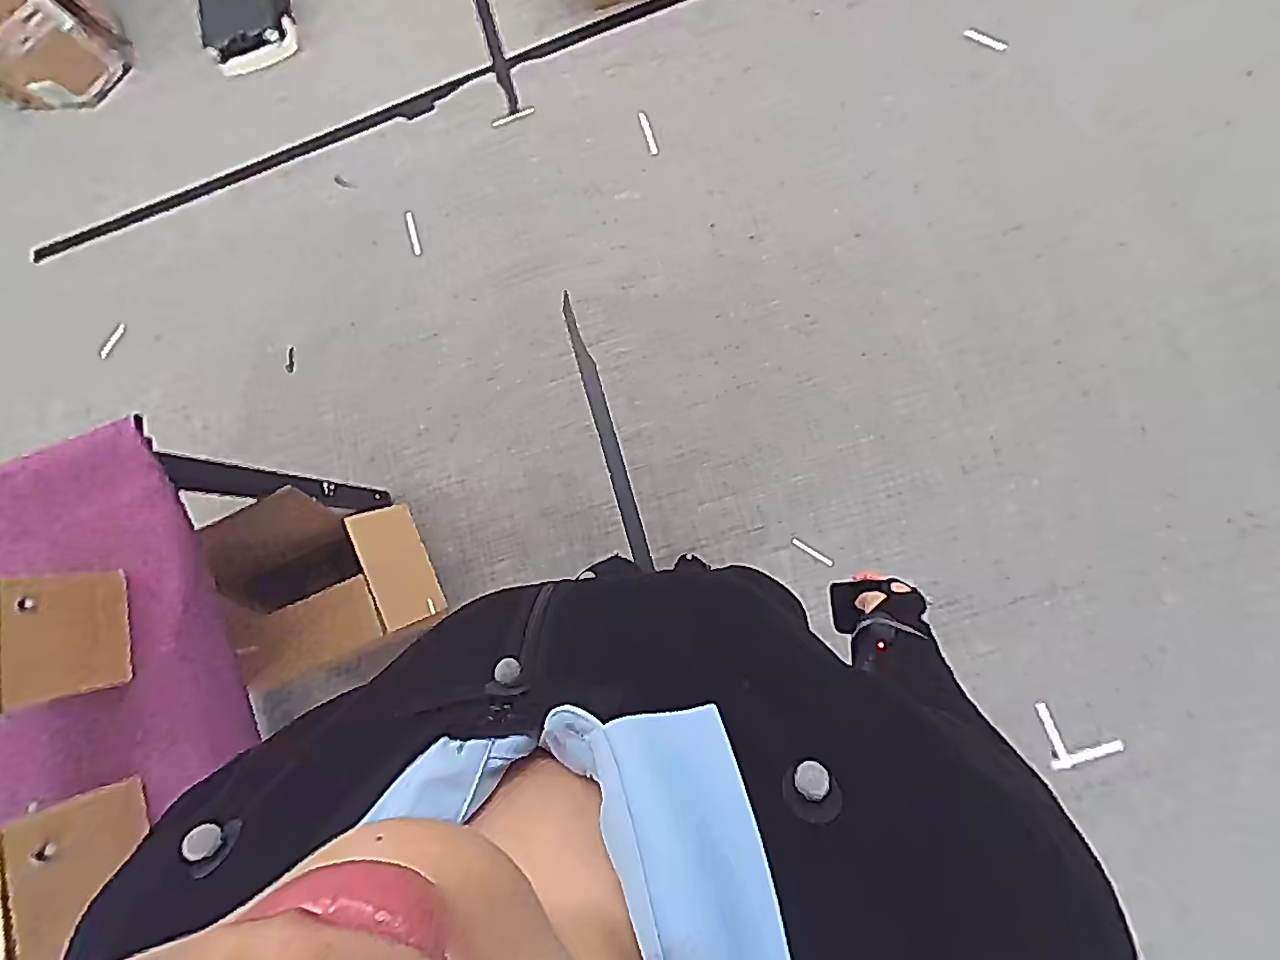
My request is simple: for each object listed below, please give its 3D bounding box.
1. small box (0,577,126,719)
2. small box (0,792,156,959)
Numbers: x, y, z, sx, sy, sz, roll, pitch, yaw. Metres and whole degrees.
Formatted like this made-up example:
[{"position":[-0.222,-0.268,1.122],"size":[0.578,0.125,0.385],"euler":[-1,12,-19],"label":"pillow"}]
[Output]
[{"position":[-0.889,0.243,0.771],"size":[0.168,0.176,0.179],"euler":[-13,81,5],"label":"small box"},{"position":[-0.806,0.547,0.720],"size":[0.168,0.176,0.179],"euler":[-21,81,6],"label":"small box"}]
